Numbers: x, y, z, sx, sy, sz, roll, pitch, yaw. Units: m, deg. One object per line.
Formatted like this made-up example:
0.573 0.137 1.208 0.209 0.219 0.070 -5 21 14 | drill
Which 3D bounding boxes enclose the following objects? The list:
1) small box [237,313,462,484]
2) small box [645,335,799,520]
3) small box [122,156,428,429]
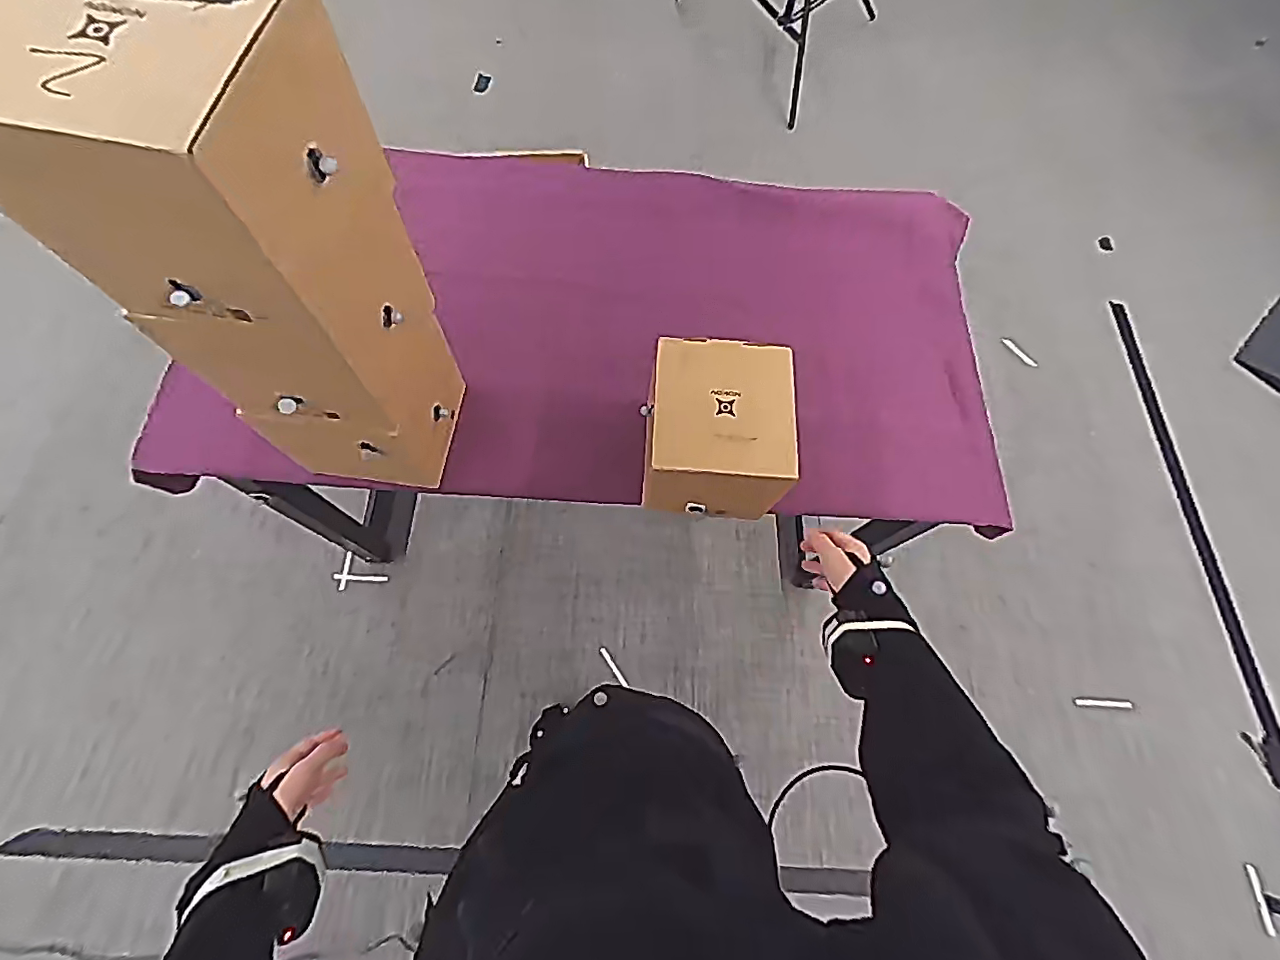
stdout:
-0.340 -0.104 0.680 0.179 0.176 0.168 7 68 -1 | small box
0.095 -0.060 0.697 0.168 0.176 0.179 3 70 -1 | small box
-0.325 -0.172 0.531 0.168 0.176 0.179 7 69 -2 | small box
